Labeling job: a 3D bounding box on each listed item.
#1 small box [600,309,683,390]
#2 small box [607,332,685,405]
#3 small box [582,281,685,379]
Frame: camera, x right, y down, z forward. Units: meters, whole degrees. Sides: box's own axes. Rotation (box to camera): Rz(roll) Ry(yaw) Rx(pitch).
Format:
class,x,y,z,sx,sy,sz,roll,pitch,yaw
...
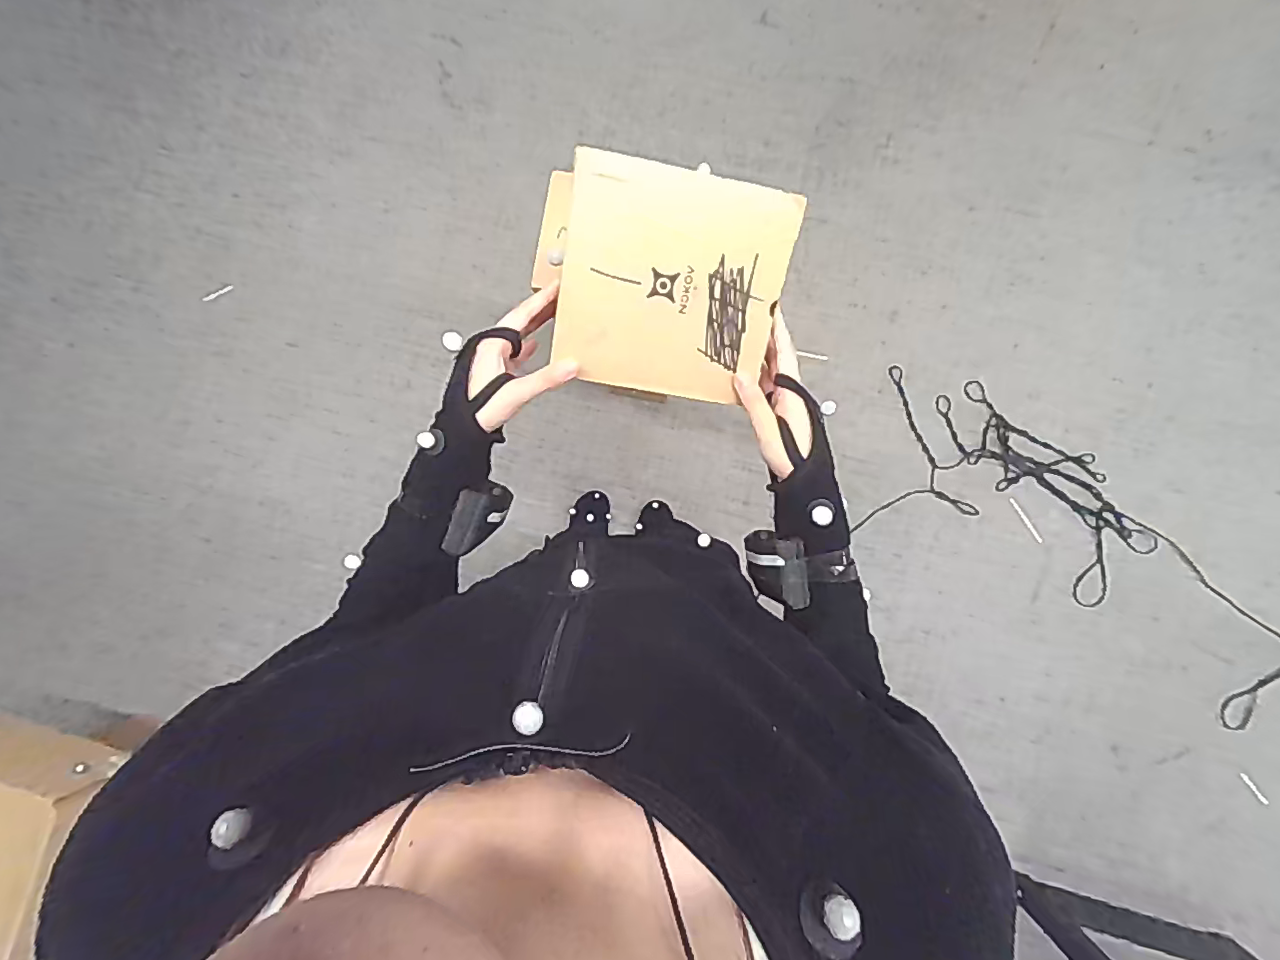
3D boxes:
class,x,y,z,sx,sy,sz,roll,pitch,yaw
small box,-0.001,-0.324,1.294,0.179,0.176,0.168,13,88,4
small box,0.018,-0.310,1.456,0.179,0.176,0.168,13,87,4
small box,-0.010,-0.318,1.130,0.179,0.176,0.168,11,87,4
